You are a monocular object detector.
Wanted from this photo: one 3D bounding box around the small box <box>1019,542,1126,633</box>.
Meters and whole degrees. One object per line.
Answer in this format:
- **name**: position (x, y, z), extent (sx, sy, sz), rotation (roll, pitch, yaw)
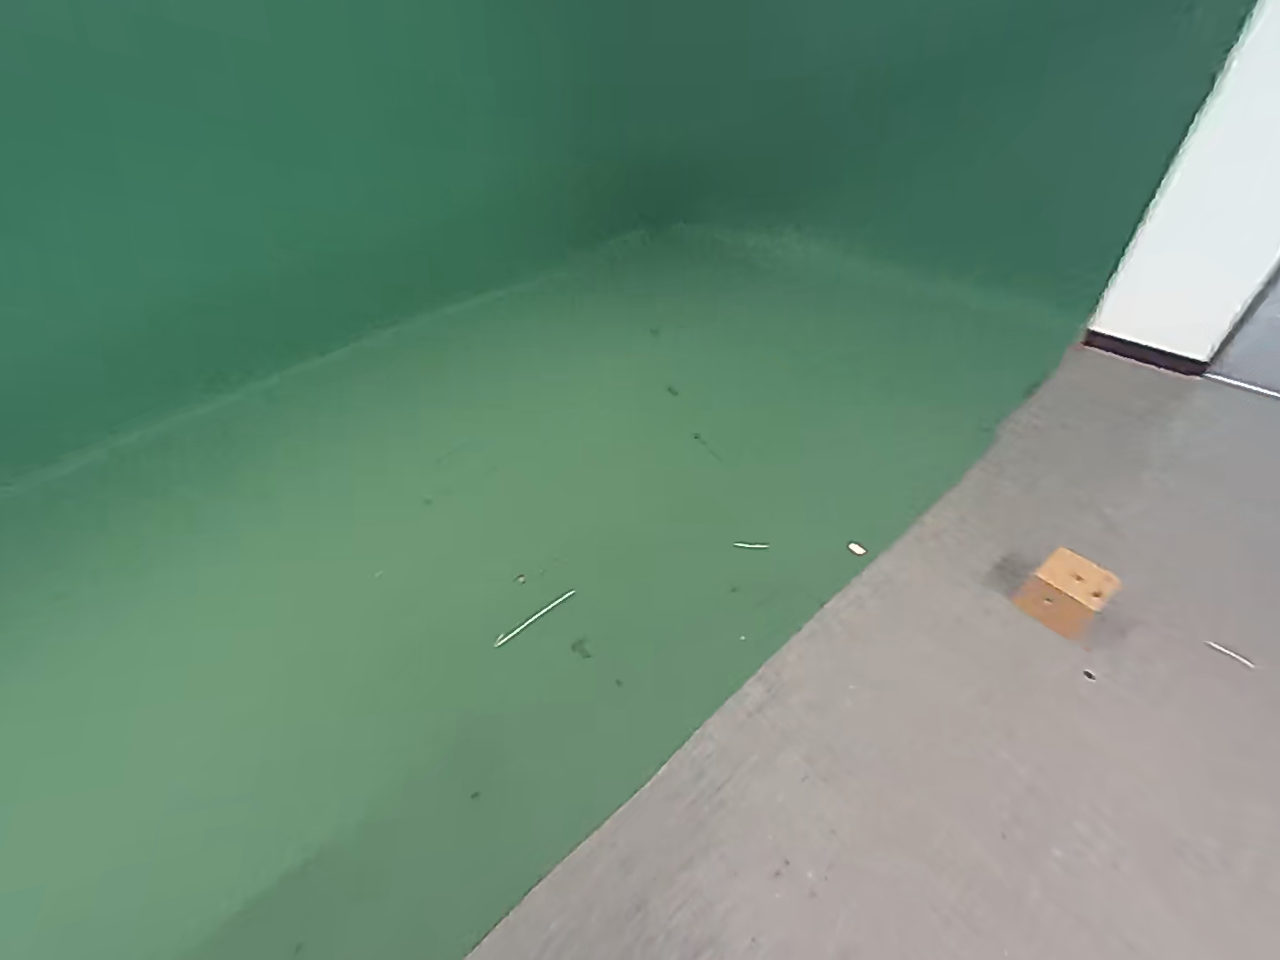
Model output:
- **small box**: position (1.306, 0.331, 1.648), extent (0.168, 0.176, 0.179), rotation (-32, 48, -21)
